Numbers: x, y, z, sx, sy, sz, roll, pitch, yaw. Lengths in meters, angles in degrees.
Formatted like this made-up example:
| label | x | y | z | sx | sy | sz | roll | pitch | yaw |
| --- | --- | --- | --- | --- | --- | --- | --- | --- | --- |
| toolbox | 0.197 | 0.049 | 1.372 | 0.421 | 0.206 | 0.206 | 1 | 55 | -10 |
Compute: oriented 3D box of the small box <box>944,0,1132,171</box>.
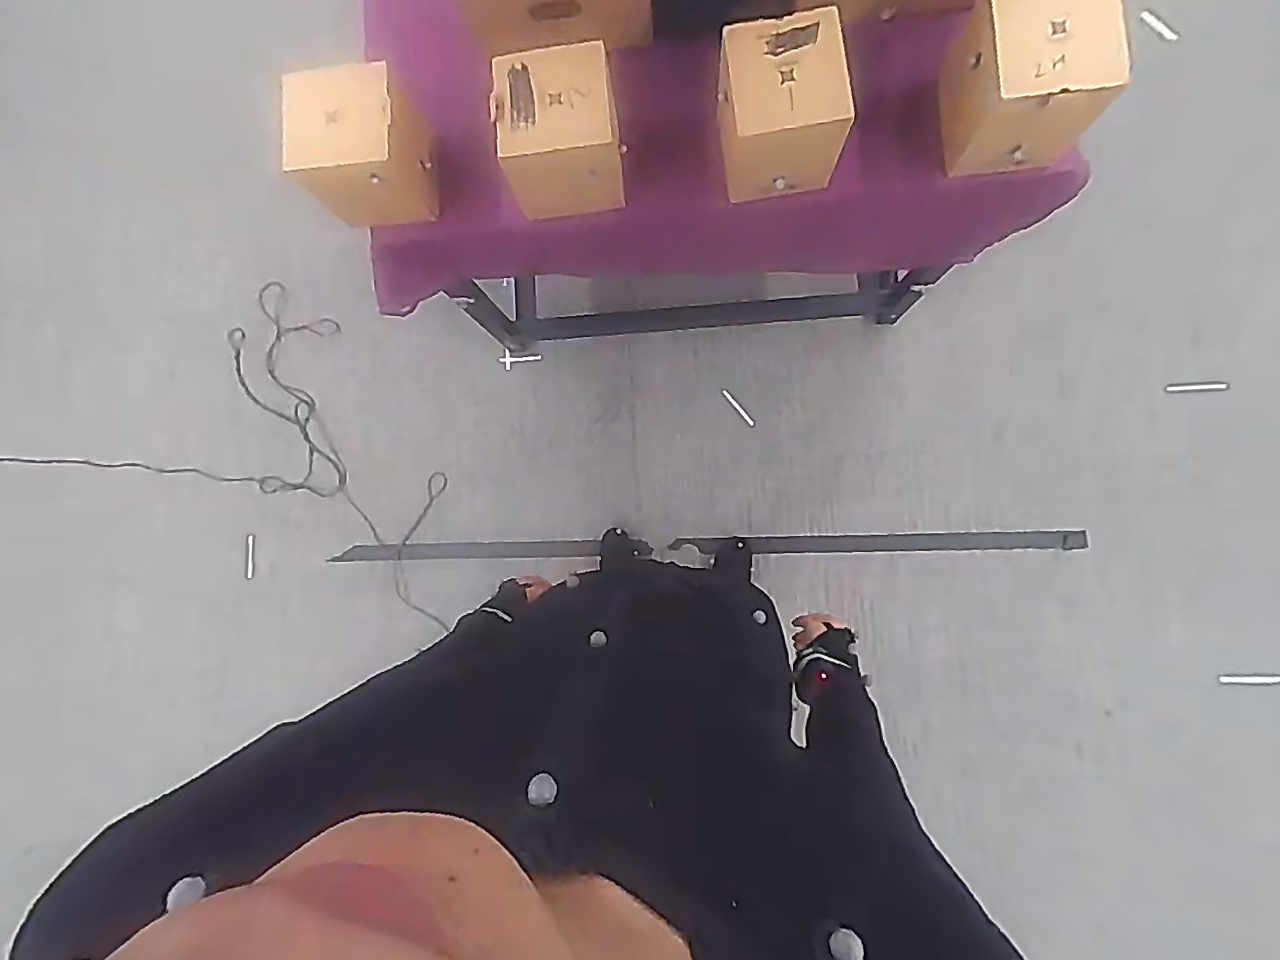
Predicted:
| label | x | y | z | sx | sy | sz | roll | pitch | yaw |
| --- | --- | --- | --- | --- | --- | --- | --- | --- | --- |
| small box | 0.579 | -0.604 | 0.812 | 0.168 | 0.176 | 0.179 | -2 | 85 | 7 |

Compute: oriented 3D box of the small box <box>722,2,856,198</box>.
| label | x | y | z | sx | sy | sz | roll | pitch | yaw |
| --- | --- | --- | --- | --- | --- | --- | --- | --- | --- |
| small box | 0.222 | -0.582 | 0.849 | 0.168 | 0.176 | 0.179 | -7 | 86 | 6 |

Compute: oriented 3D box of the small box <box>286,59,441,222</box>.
| label | x | y | z | sx | sy | sz | roll | pitch | yaw |
| --- | --- | --- | --- | --- | --- | --- | --- | --- | --- |
| small box | -0.459 | -0.559 | 0.915 | 0.179 | 0.176 | 0.168 | -3 | 85 | 4 |
